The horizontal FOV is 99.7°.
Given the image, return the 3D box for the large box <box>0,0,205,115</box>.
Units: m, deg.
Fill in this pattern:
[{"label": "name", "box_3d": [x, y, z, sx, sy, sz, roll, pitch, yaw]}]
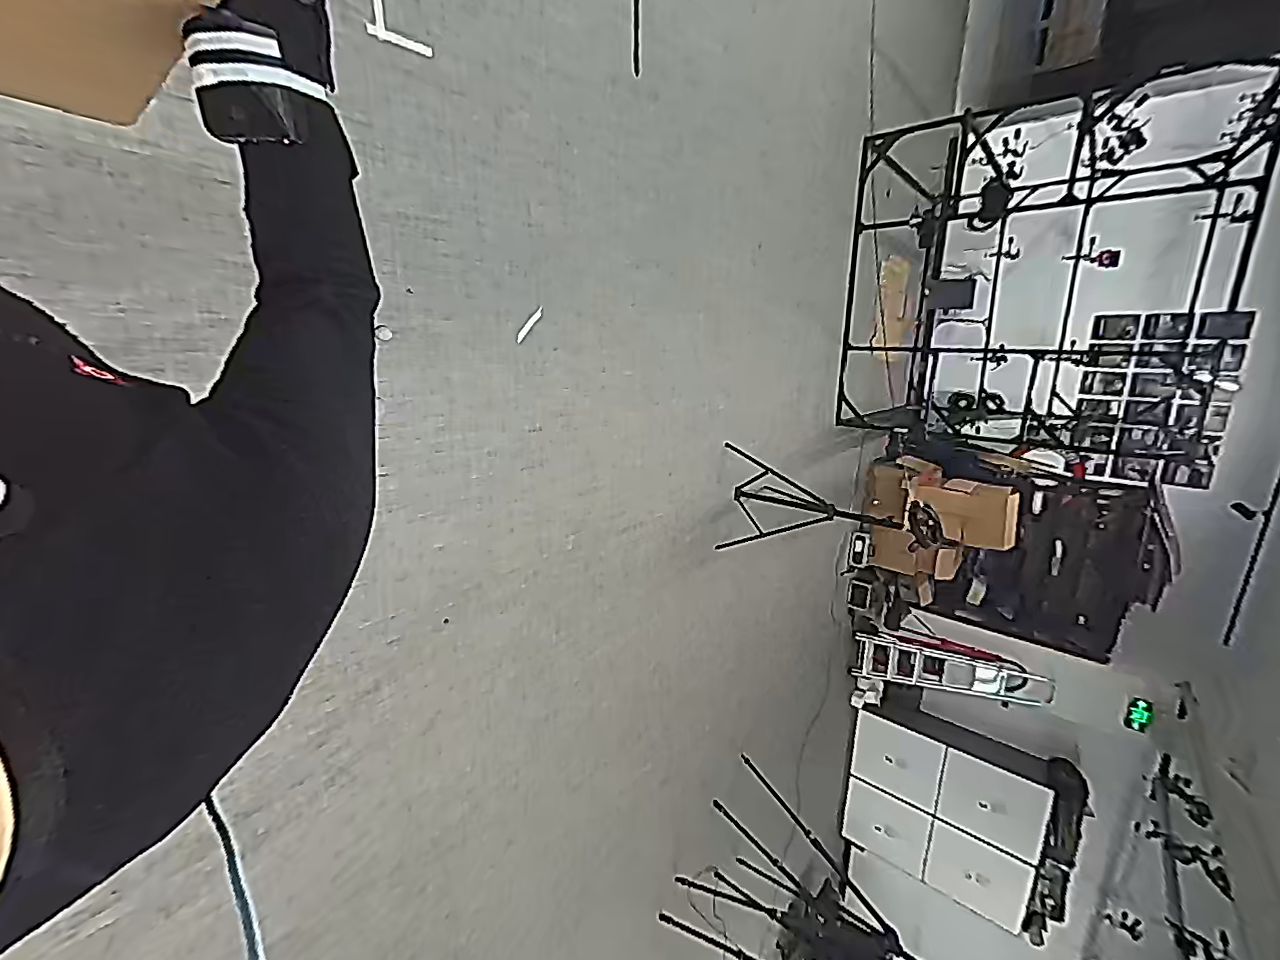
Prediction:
[{"label": "large box", "box_3d": [-0.495, -0.440, 0.243, 0.408, 0.320, 0.320, -14, 108, -50]}]
